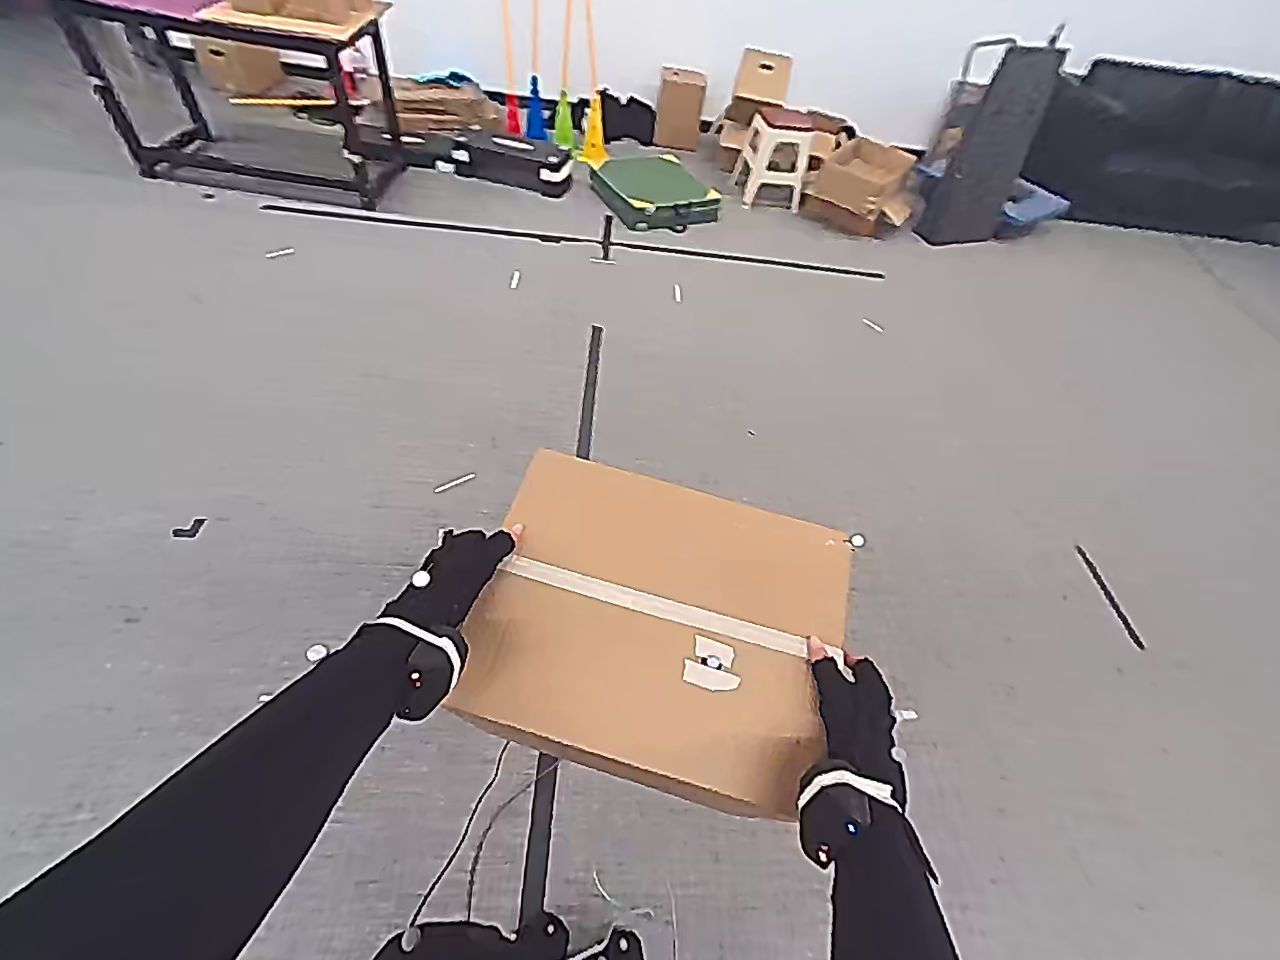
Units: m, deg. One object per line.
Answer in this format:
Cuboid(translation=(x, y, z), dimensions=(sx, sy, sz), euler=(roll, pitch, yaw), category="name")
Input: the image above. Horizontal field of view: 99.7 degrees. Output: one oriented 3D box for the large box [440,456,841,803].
Cuboid(translation=(0.009, 0.215, 0.738), dimensions=(0.408, 0.320, 0.320), euler=(15, 60, 4), category="large box")
